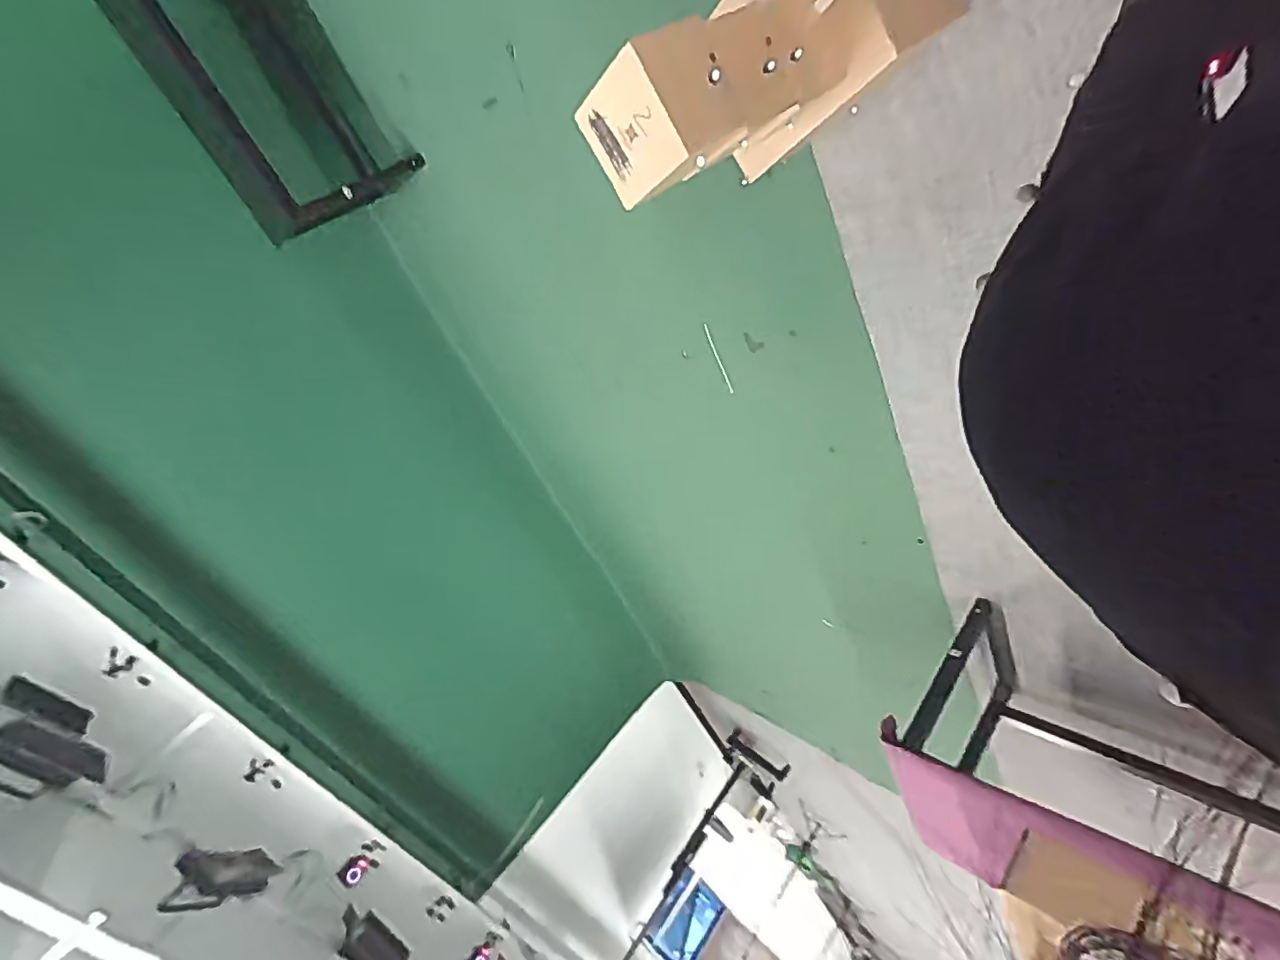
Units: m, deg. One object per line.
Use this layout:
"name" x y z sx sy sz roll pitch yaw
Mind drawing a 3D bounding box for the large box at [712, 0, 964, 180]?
"large box" 0.371 -0.947 1.146 0.320 0.320 0.408 54 154 -13

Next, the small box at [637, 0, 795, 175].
"small box" 0.134 -0.679 0.945 0.179 0.176 0.168 -2 126 56

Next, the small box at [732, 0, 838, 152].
"small box" 0.242 -0.774 1.023 0.168 0.176 0.179 -4 125 57
